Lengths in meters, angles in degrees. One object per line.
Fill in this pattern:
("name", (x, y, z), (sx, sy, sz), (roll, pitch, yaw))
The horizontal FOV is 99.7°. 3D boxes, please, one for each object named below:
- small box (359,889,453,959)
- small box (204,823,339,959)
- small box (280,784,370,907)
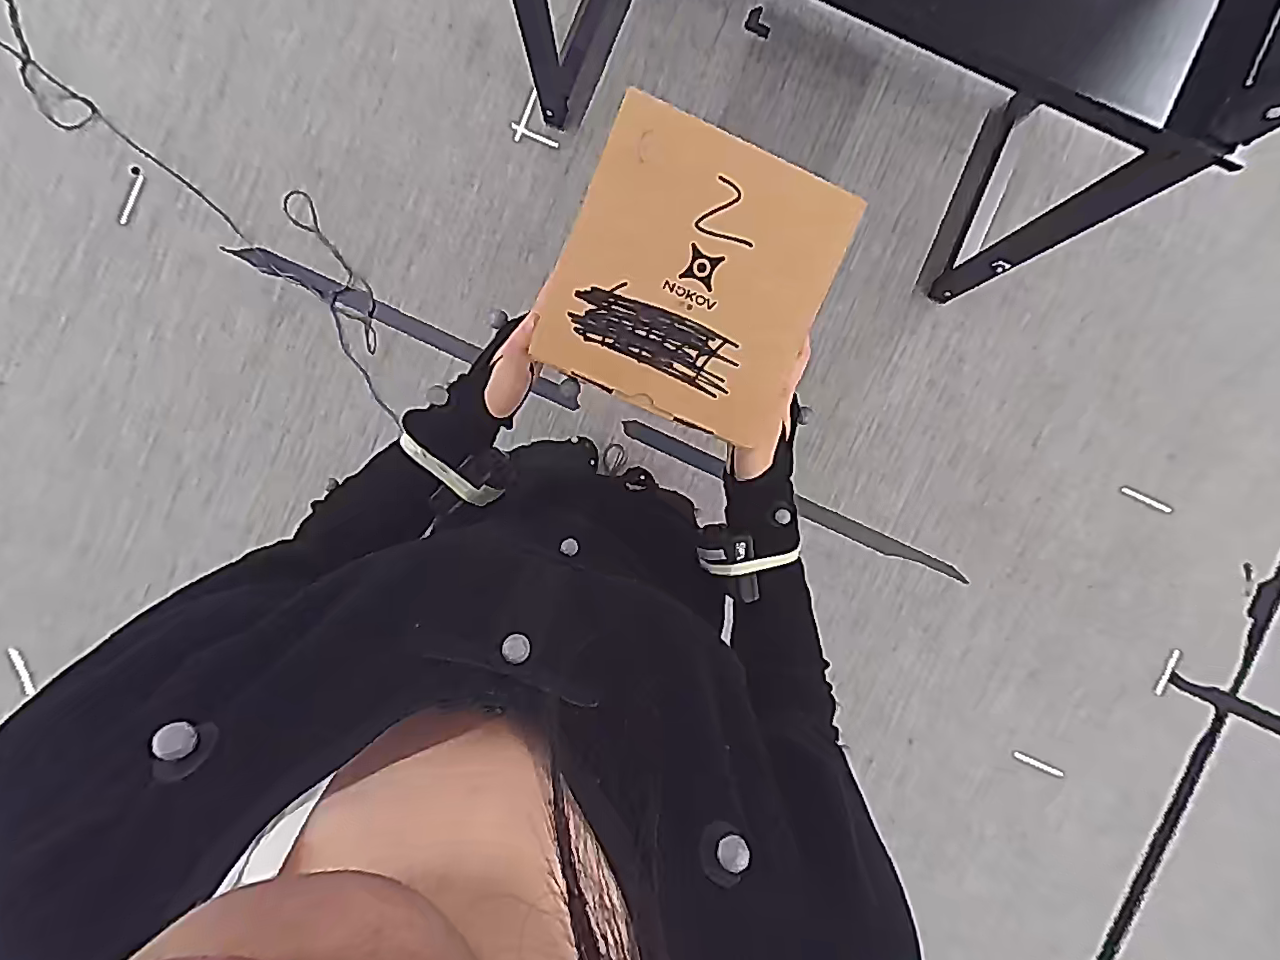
("small box", (-0.627, 1.245, 1.433), (0.179, 0.176, 0.168), (32, 91, -3))
("small box", (-0.844, 0.955, 1.258), (0.168, 0.176, 0.179), (26, 90, -2))
("small box", (-0.846, 0.951, 1.421), (0.168, 0.176, 0.179), (23, 91, -2))
